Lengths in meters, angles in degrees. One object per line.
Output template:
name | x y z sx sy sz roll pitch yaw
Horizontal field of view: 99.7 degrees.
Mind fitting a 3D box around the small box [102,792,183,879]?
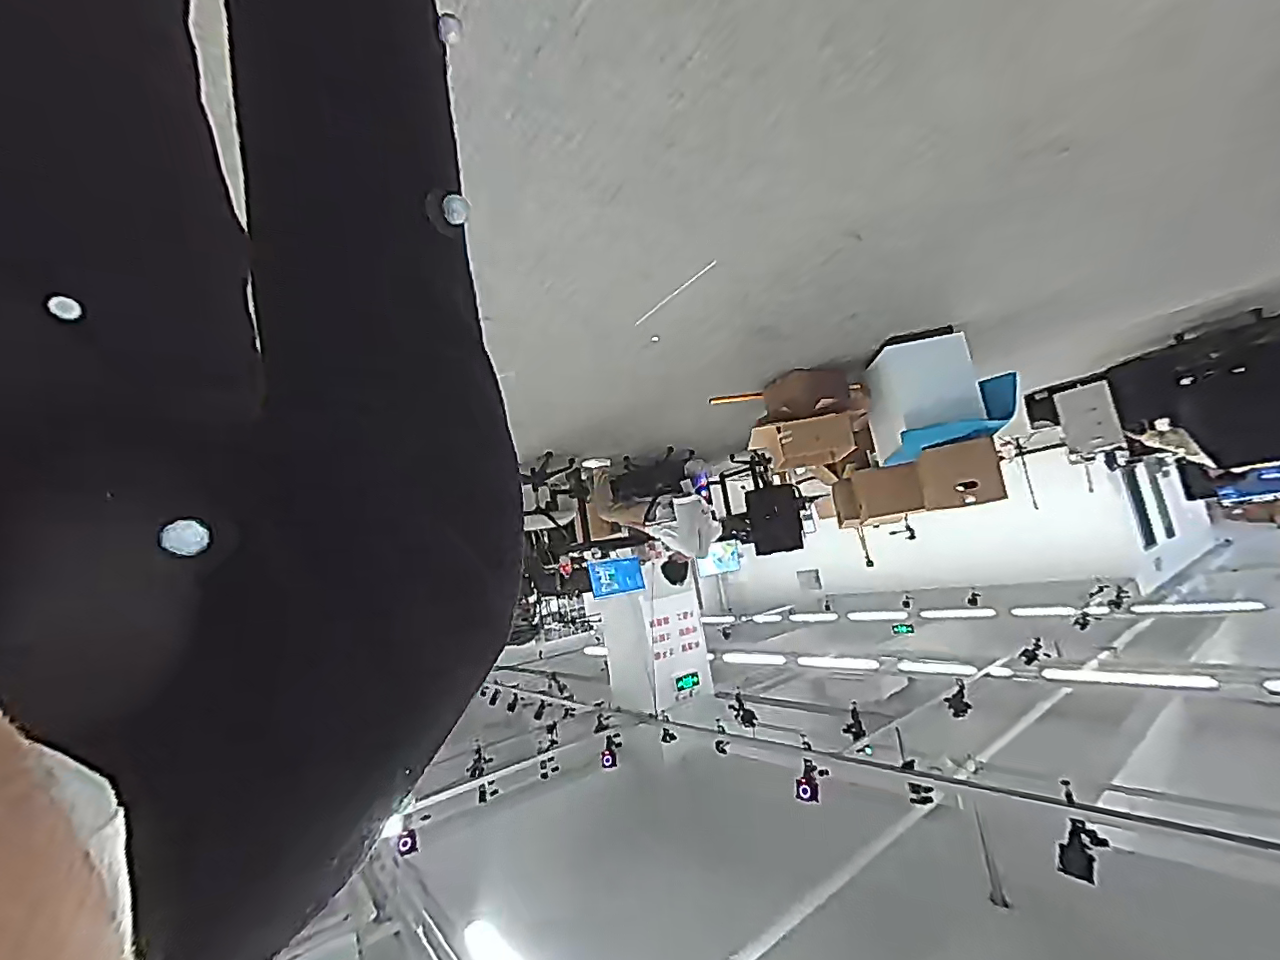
small box | -1.620 1.147 1.765 0.179 0.176 0.168 -3 169 -34

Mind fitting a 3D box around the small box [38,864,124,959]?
small box | -1.713 1.313 1.661 0.168 0.176 0.179 -1 169 -38
